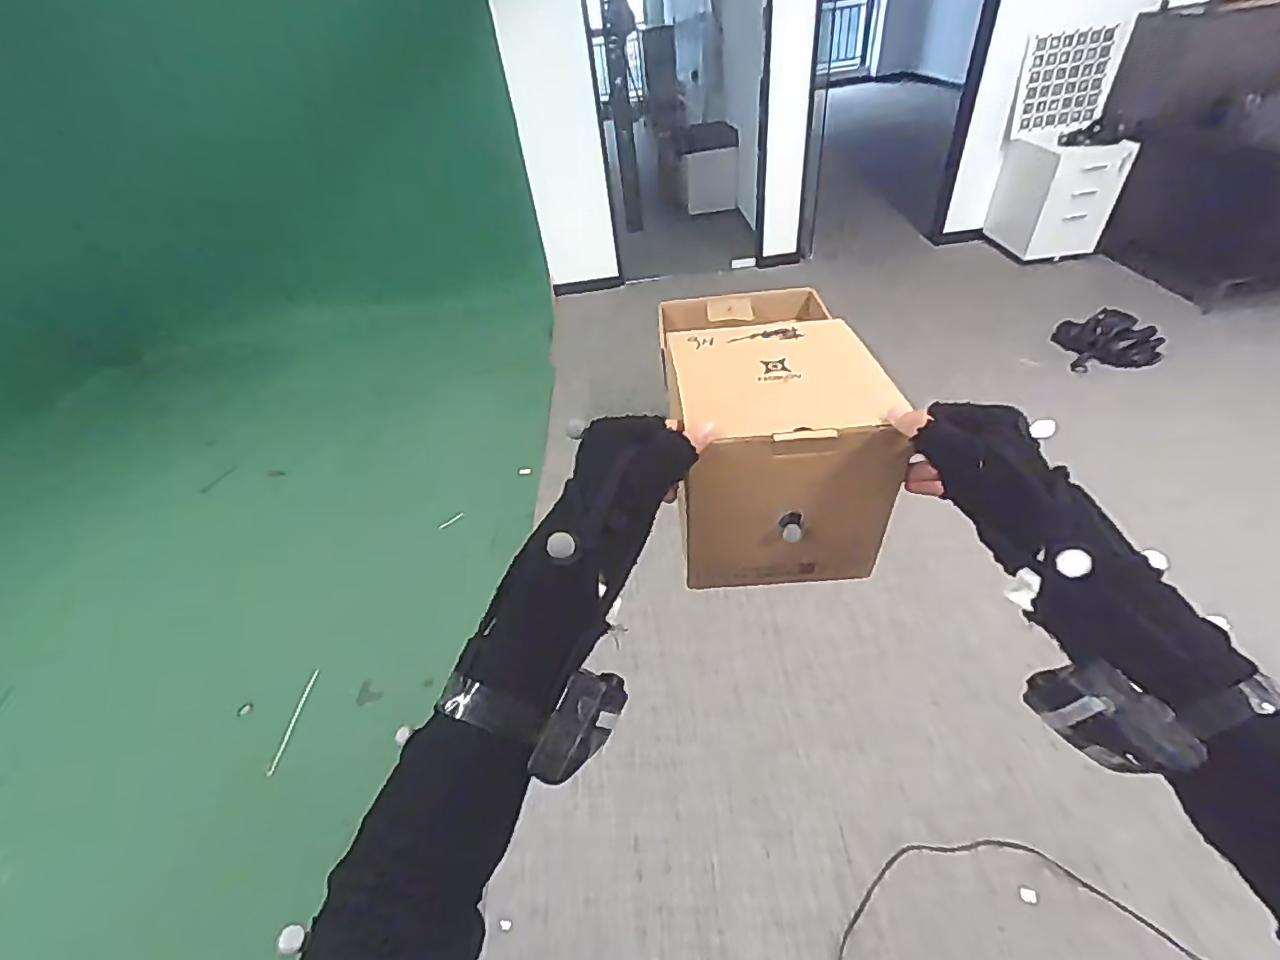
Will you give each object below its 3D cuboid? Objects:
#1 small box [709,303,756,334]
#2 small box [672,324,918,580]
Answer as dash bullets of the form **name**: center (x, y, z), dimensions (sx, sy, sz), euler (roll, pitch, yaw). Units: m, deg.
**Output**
- **small box**: center (0.349, -0.556, 2.061), dimensions (0.168, 0.176, 0.179), euler (-1, 40, 4)
- **small box**: center (0.118, -0.022, 0.493), dimensions (0.168, 0.176, 0.179), euler (-3, 41, 0)
